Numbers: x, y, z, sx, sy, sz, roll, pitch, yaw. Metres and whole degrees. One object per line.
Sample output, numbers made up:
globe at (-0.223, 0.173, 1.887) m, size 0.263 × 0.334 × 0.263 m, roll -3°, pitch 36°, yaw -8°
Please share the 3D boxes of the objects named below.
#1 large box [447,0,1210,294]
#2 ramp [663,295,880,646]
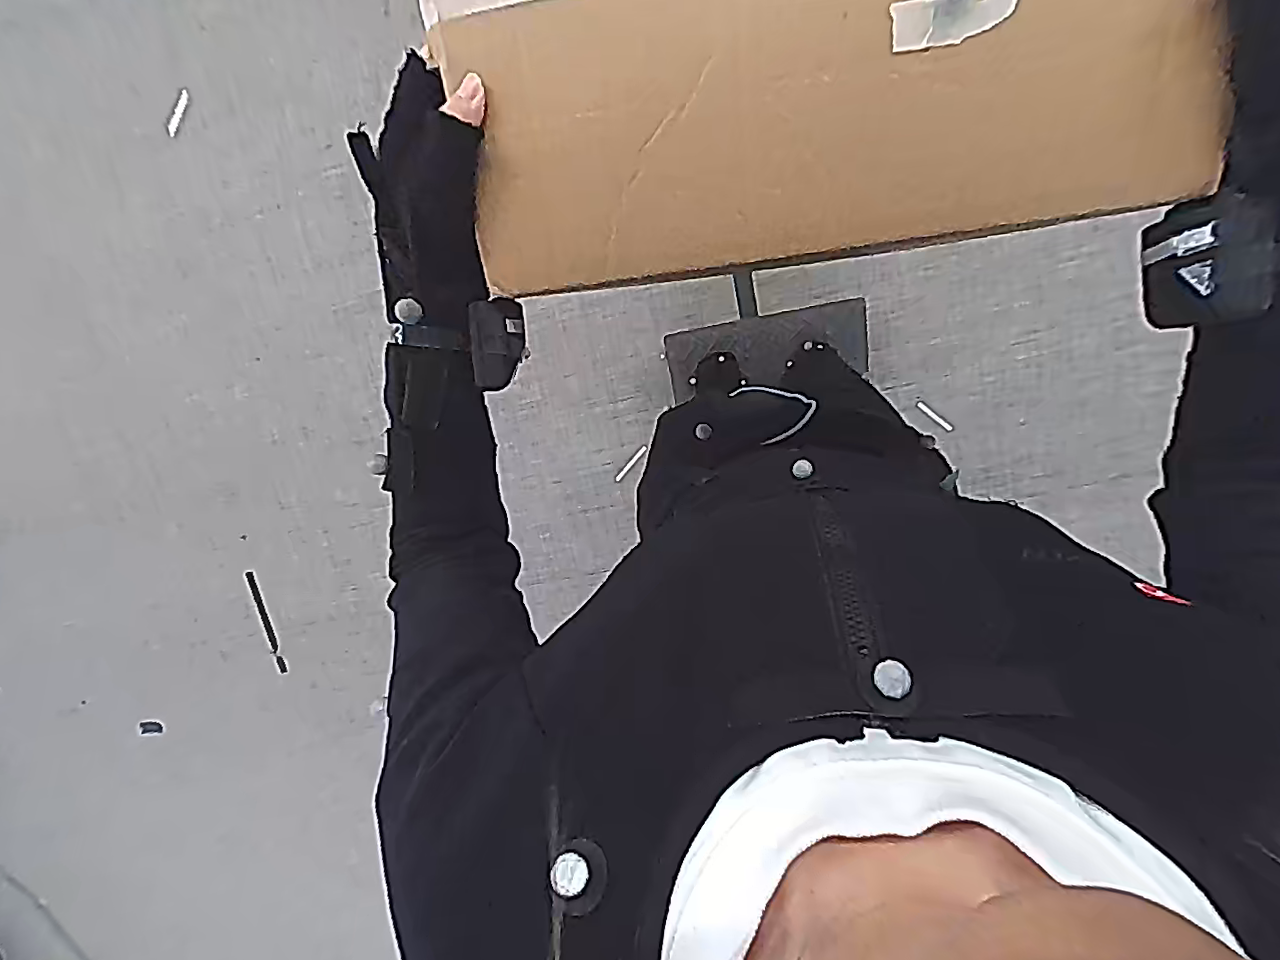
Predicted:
large box at (0.098, -0.336, 0.422) m, size 0.408 × 0.320 × 0.320 m, roll -5°, pitch 109°, yaw 8°
ramp at (0.396, 0.043, 1.507) m, size 0.509 × 0.206 × 0.991 m, roll -10°, pitch 102°, yaw 10°
